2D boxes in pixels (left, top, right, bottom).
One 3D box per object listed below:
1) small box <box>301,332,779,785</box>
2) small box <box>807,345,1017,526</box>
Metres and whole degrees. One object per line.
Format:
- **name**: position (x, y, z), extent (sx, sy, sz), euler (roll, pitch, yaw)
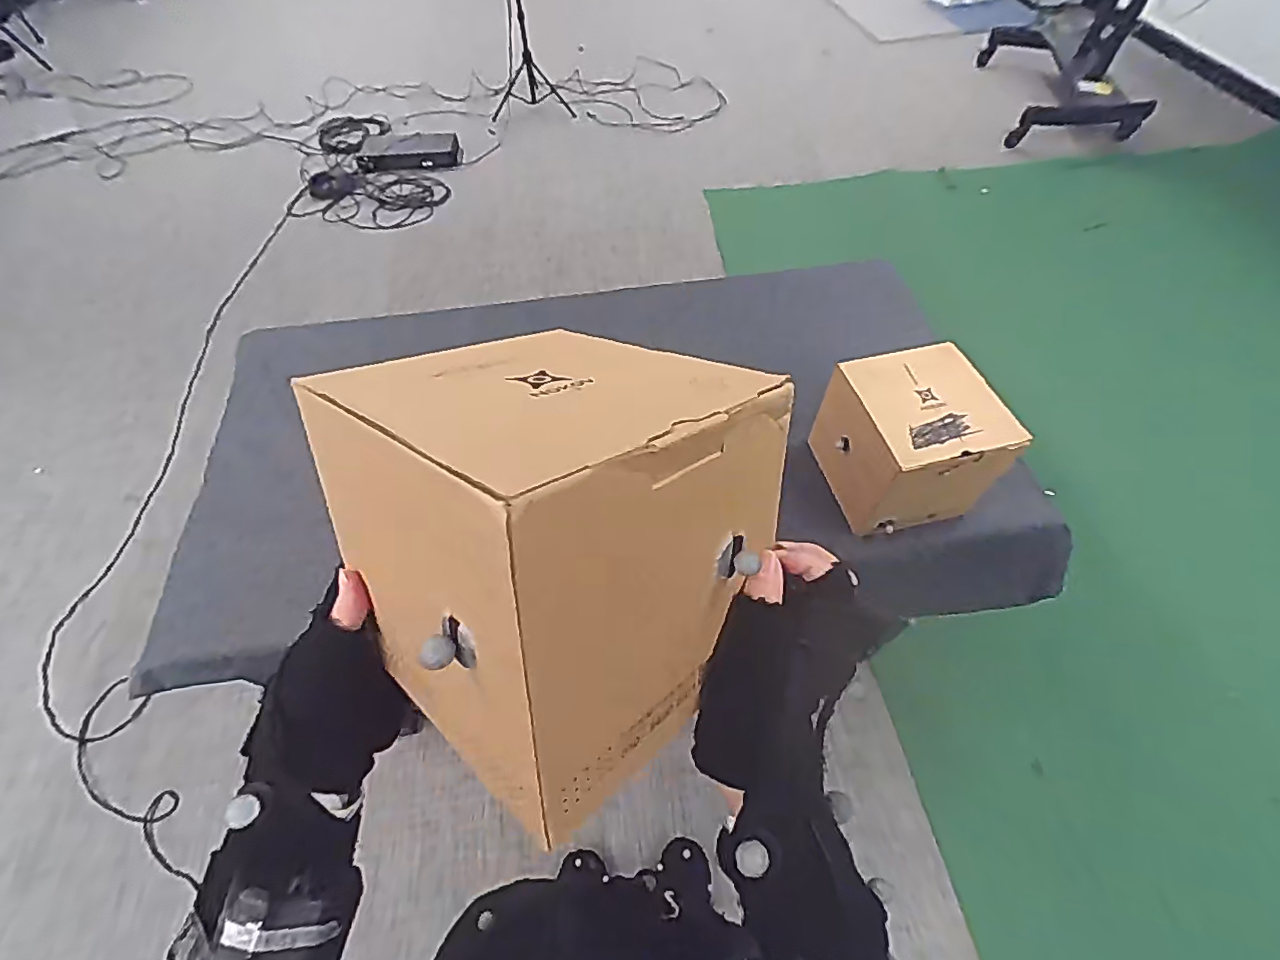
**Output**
- **small box**: position (-0.048, 0.026, 0.299), extent (0.179, 0.176, 0.168), euler (21, 33, 37)
- **small box**: position (0.350, -0.052, 0.738), extent (0.168, 0.176, 0.179), euler (-11, 56, -6)
